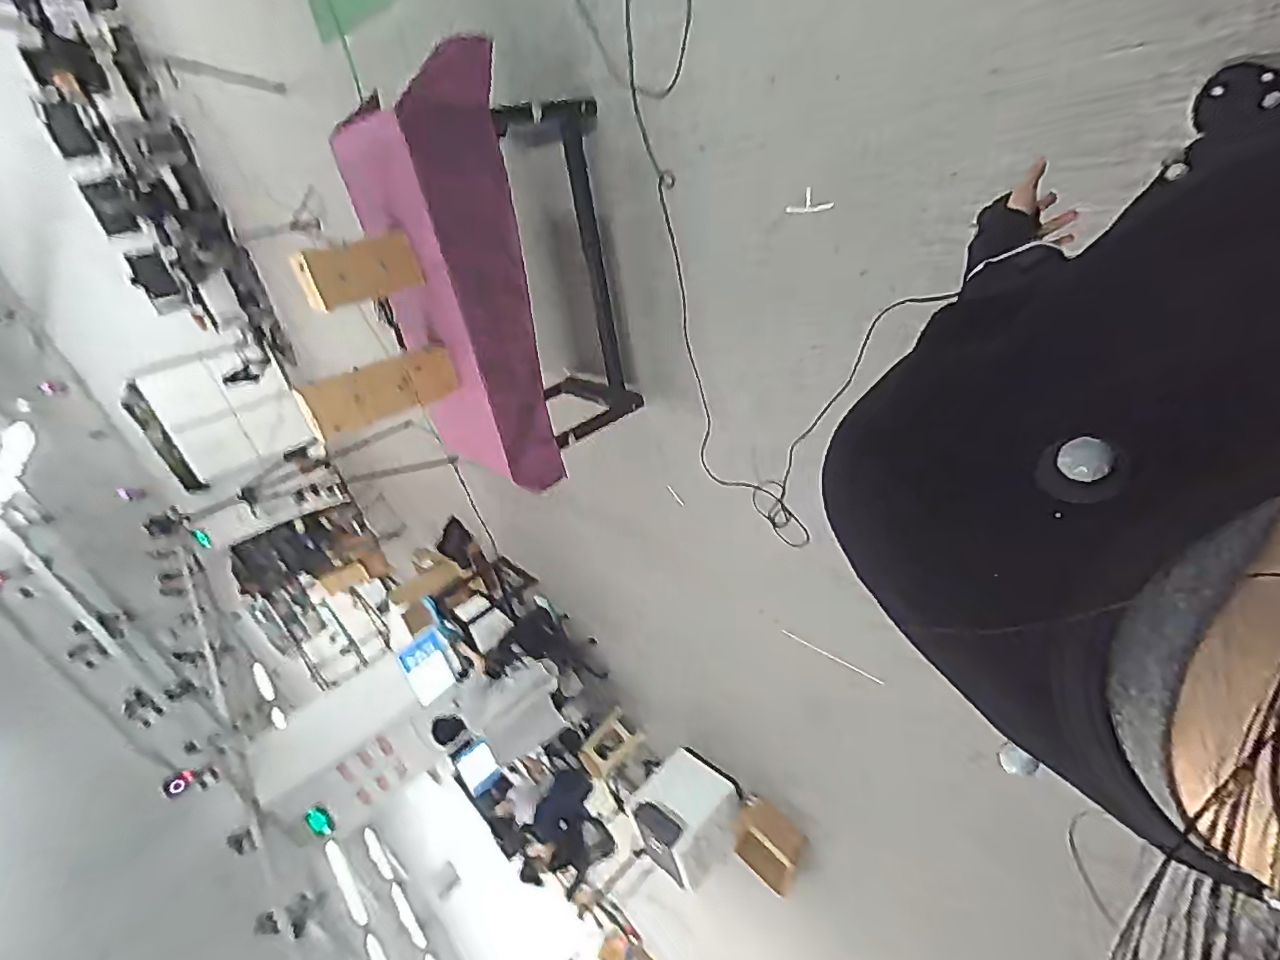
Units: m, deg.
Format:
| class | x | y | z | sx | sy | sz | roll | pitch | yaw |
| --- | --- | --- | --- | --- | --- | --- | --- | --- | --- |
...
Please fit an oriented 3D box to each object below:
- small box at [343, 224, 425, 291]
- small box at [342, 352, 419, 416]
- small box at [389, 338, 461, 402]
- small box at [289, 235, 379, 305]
| class | x | y | z | sx | sy | sz | roll | pitch | yaw |
| --- | --- | --- | --- | --- | --- | --- | --- | --- | --- |
| small box | -0.842 | -0.740 | 1.793 | 0.168 | 0.176 | 0.179 | 23 | 133 | 41 |
| small box | -0.911 | -0.345 | 1.907 | 0.179 | 0.176 | 0.168 | 21 | 132 | 44 |
| small box | -0.788 | -0.410 | 1.997 | 0.168 | 0.176 | 0.179 | 21 | 131 | 43 |
| small box | -0.960 | -0.667 | 1.706 | 0.168 | 0.176 | 0.179 | 22 | 133 | 42 |
